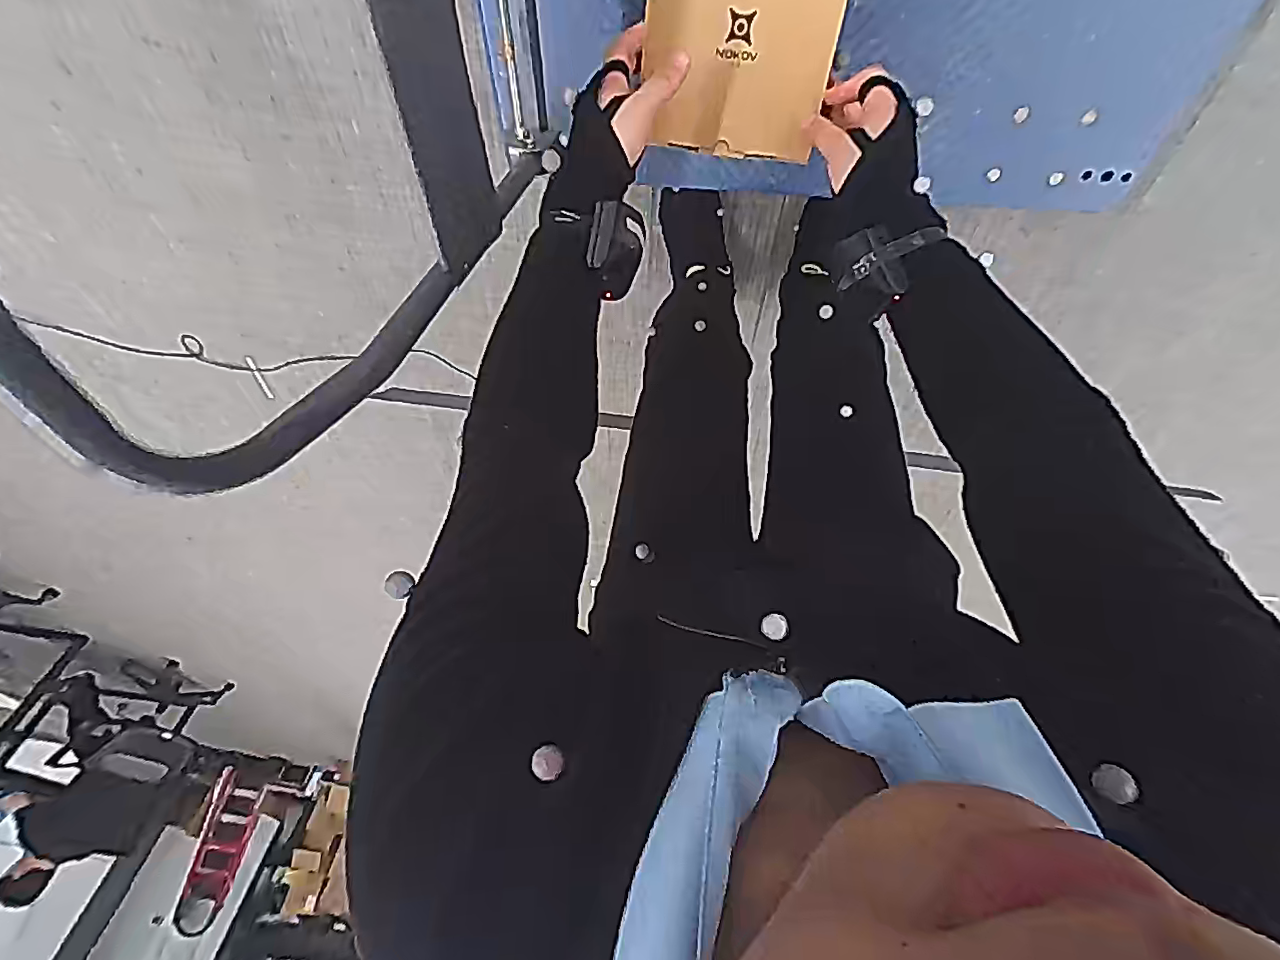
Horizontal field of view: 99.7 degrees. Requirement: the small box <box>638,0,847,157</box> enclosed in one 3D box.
[{"bbox_3d":[0.098,-0.429,0.519,0.168,0.176,0.179,10,128,5],"label":"small box"}]
